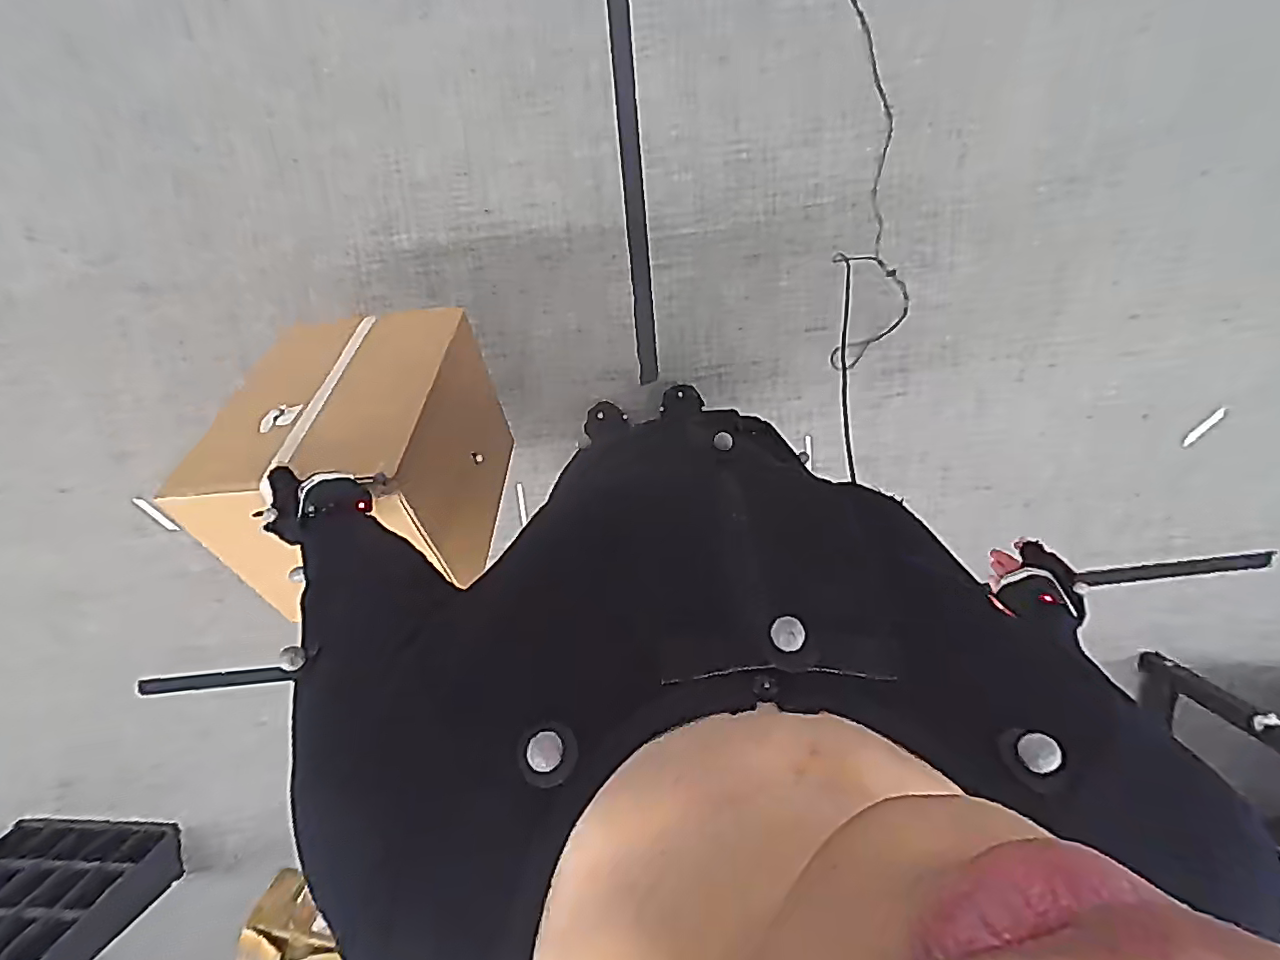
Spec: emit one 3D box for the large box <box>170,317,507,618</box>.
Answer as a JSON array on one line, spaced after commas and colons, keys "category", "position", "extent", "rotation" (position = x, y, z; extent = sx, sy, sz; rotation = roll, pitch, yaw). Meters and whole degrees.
[{"category": "large box", "position": [-0.440, -0.026, 0.920], "extent": [0.320, 0.408, 0.320], "rotation": [-6, 137, 5]}]
